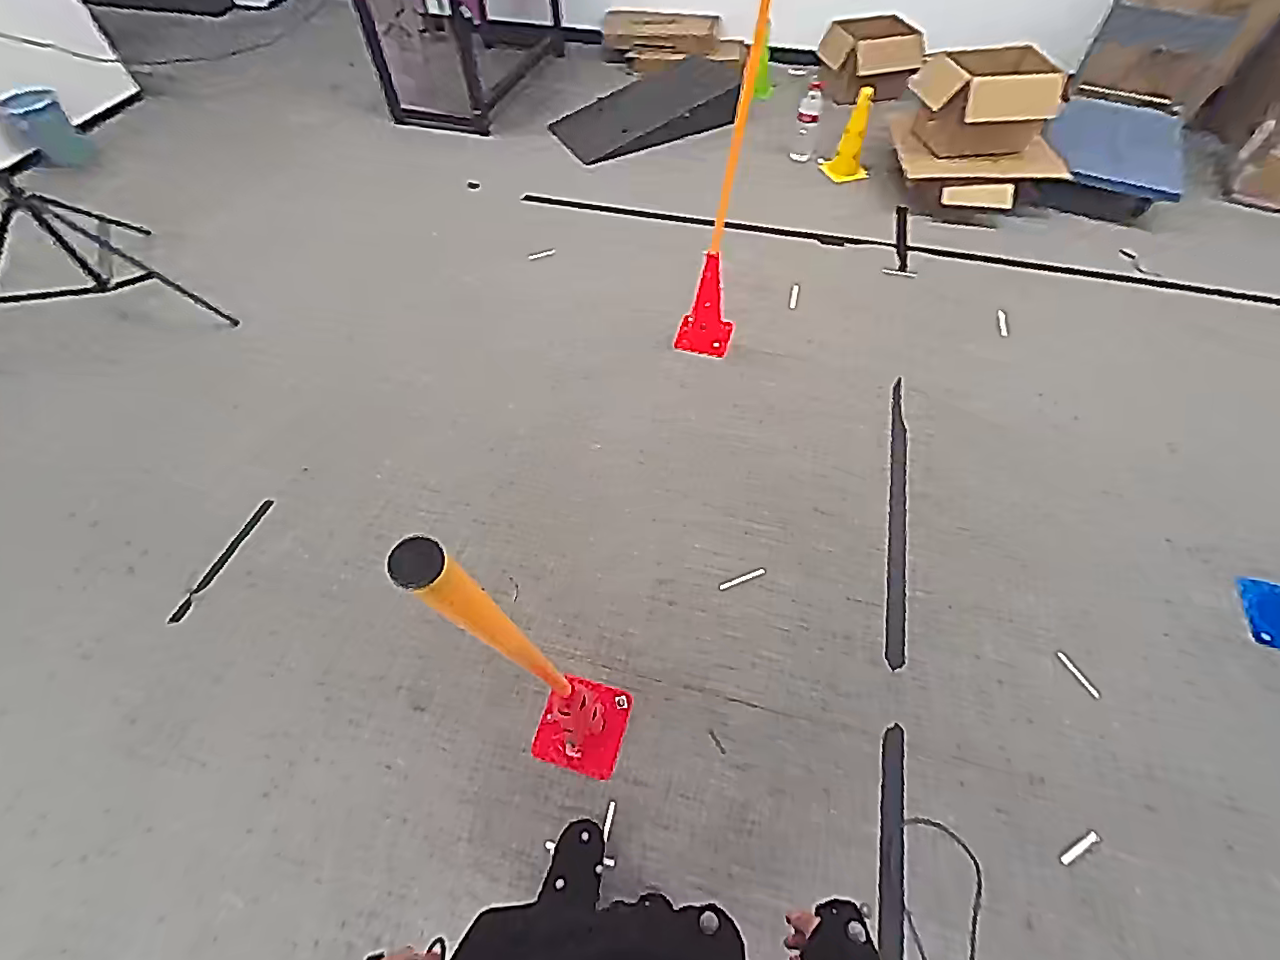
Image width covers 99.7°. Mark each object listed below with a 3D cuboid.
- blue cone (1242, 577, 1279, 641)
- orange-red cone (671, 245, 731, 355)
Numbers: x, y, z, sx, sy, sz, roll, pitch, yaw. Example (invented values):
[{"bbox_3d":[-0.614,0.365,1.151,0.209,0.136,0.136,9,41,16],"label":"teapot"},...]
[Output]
[{"bbox_3d":[1.718,0.265,1.297,0.193,0.380,0.192,15,58,10],"label":"blue cone"},{"bbox_3d":[0.230,-0.650,1.895,0.198,0.360,0.199,15,57,10],"label":"orange-red cone"}]
